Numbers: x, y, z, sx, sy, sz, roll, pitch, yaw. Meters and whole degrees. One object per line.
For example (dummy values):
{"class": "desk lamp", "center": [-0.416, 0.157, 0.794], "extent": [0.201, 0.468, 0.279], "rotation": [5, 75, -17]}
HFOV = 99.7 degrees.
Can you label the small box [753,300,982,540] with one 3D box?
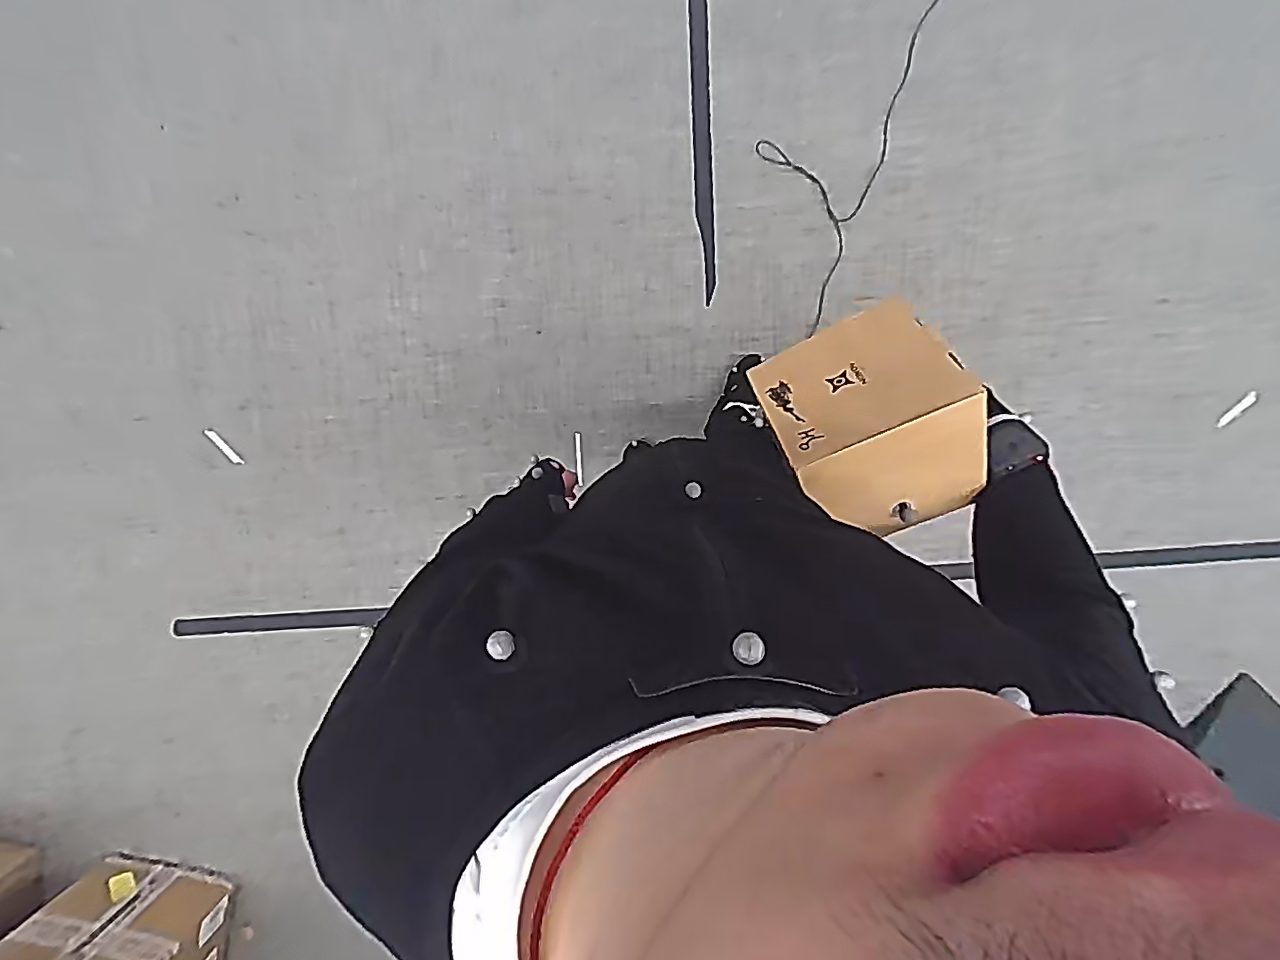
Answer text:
{"class": "small box", "center": [0.252, -0.061, 0.612], "extent": [0.179, 0.168, 0.176], "rotation": [-24, 134, 13]}
